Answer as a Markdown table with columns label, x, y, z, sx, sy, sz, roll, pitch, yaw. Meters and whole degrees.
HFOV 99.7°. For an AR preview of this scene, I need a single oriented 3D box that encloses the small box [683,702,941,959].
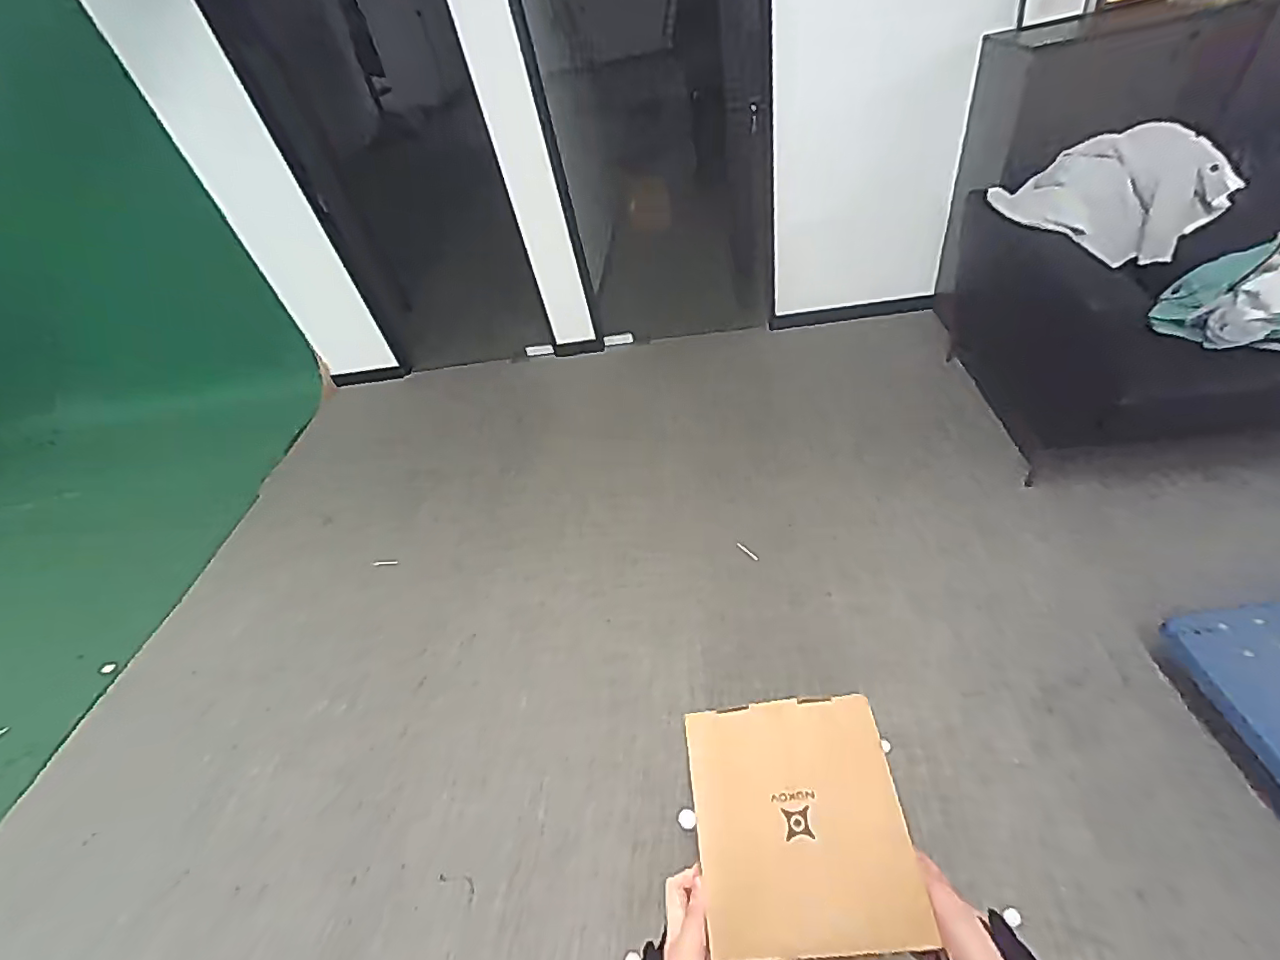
| label | x | y | z | sx | sy | sz | roll | pitch | yaw |
| --- | --- | --- | --- | --- | --- | --- | --- | --- | --- |
| small box | 0.137 | 0.320 | 0.490 | 0.168 | 0.176 | 0.179 | -9 | 52 | 5 |
